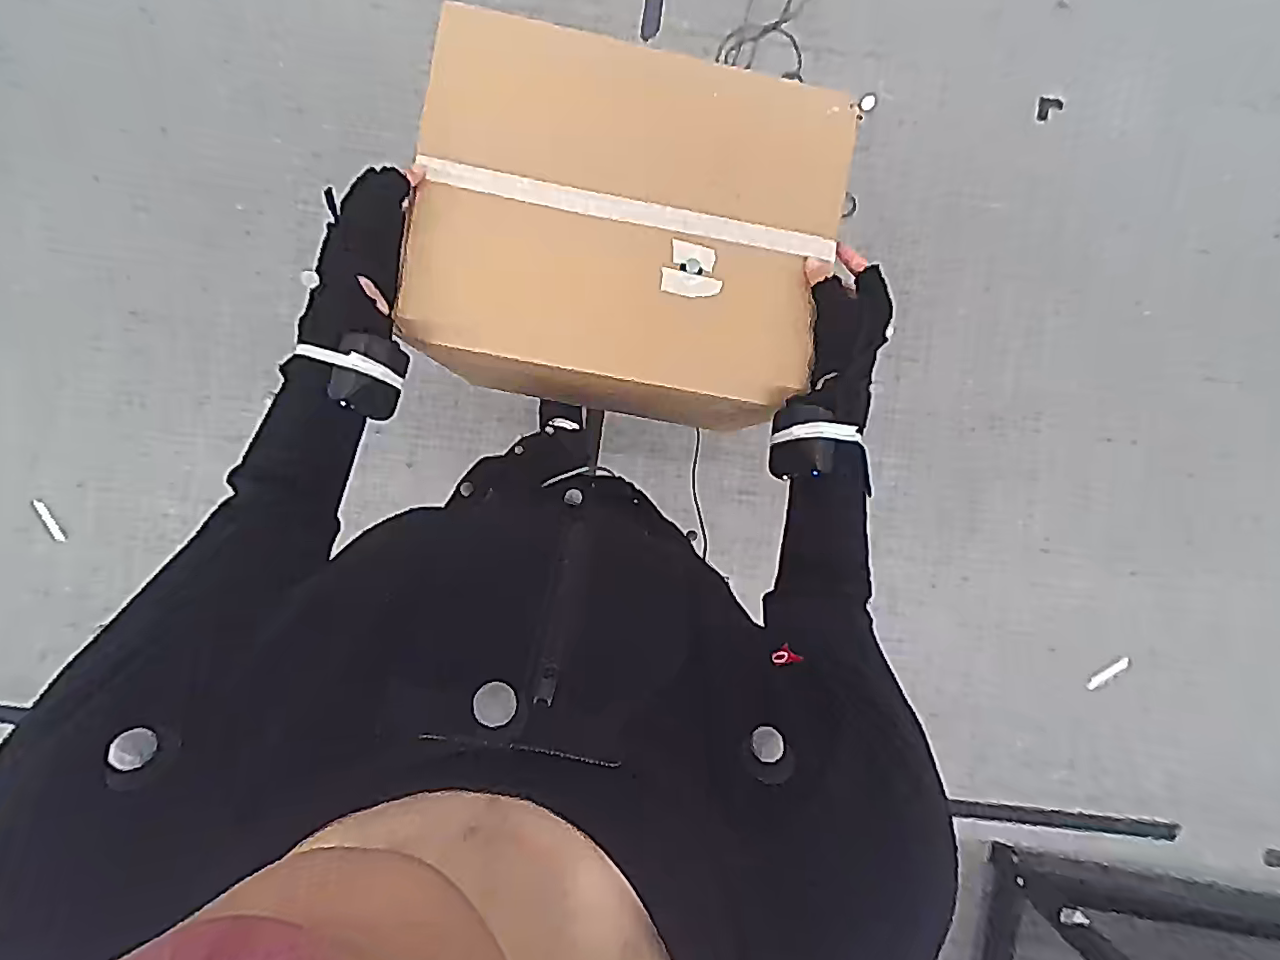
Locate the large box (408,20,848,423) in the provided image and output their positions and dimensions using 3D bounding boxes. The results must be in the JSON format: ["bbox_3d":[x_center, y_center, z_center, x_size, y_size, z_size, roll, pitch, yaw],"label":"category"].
[{"bbox_3d":[-0.020,-0.265,0.681,0.408,0.320,0.320,10,92,-5],"label":"large box"}]
